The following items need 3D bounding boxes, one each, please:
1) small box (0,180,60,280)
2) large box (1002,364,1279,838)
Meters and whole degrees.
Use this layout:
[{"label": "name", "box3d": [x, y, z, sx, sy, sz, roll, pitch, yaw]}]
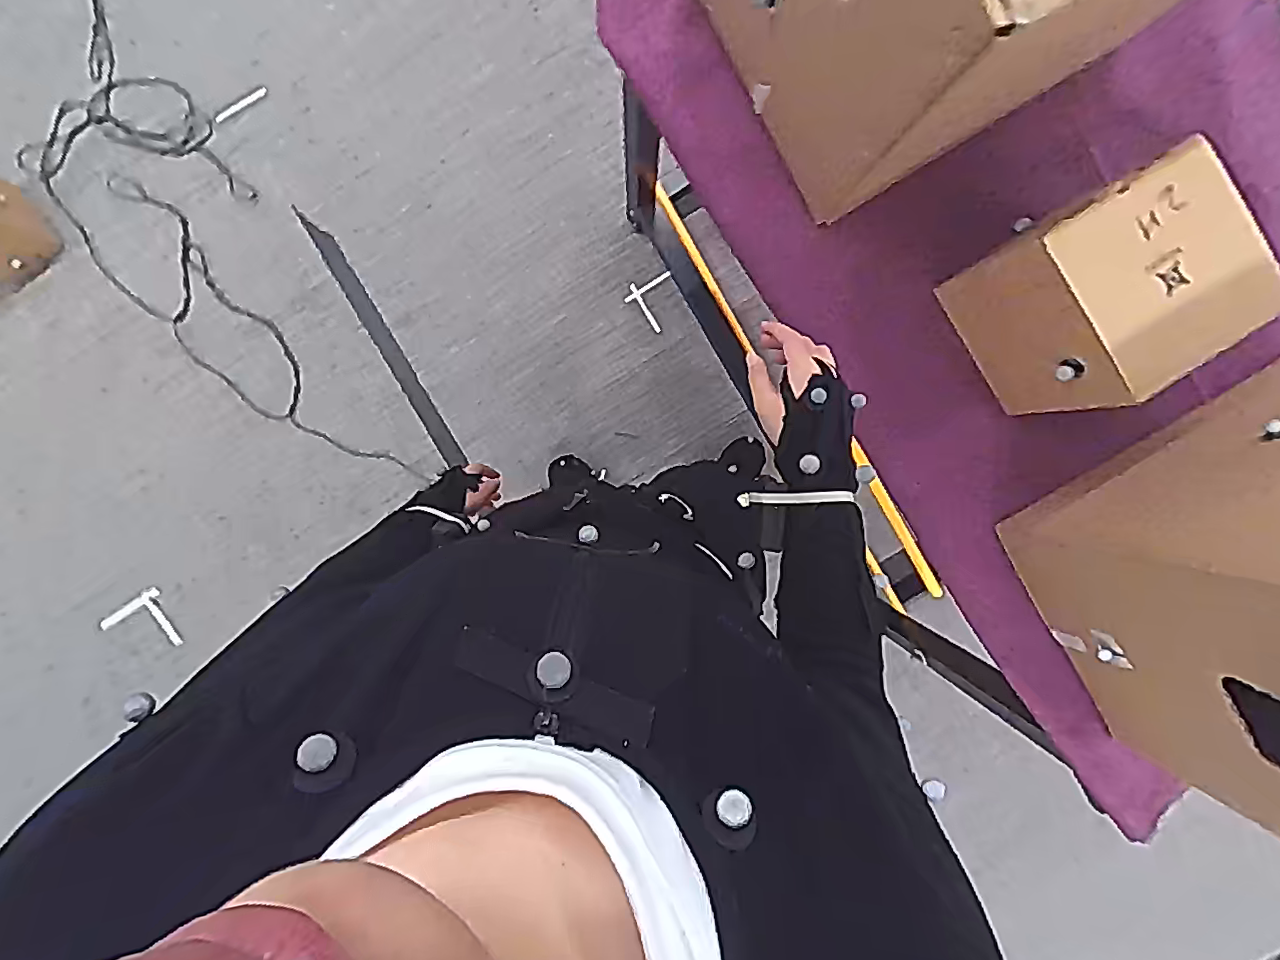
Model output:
[{"label": "small box", "box3d": [-1.511, -0.590, 1.226, 0.168, 0.176, 0.179, -35, 94, 2]}, {"label": "large box", "box3d": [0.667, 0.097, 0.495, 0.408, 0.320, 0.320, -31, 94, 0]}]
